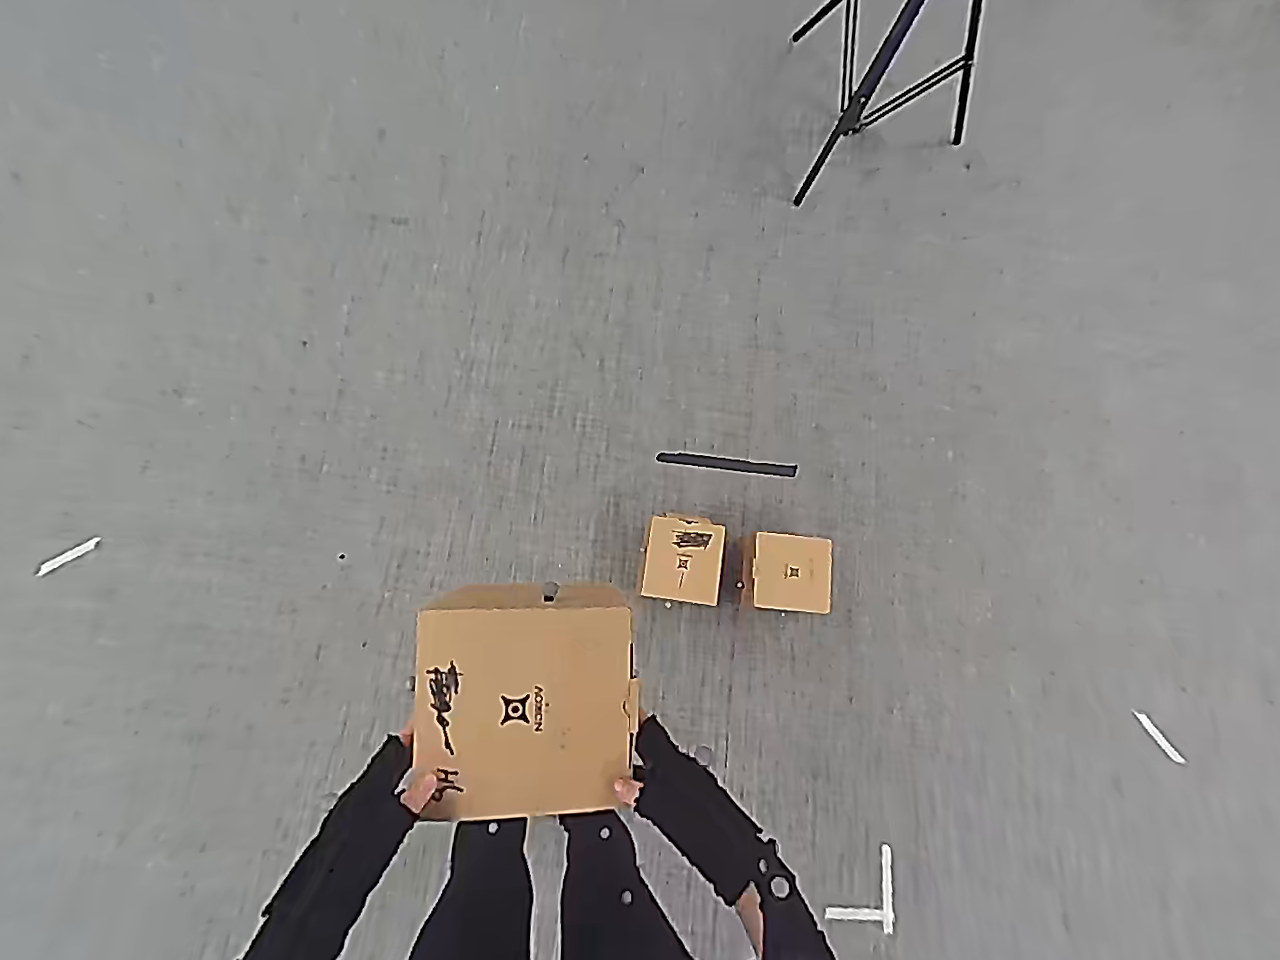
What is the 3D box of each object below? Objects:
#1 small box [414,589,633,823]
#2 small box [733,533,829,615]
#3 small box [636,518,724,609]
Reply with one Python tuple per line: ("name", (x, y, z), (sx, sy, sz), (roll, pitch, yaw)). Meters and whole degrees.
("small box", (-0.106, 0.198, 0.526), (0.179, 0.176, 0.168), (1, 85, -9))
("small box", (0.323, 0.221, 1.261), (0.179, 0.176, 0.168), (6, 79, -5))
("small box", (0.086, 0.195, 1.245), (0.168, 0.176, 0.179), (9, 78, -3))
